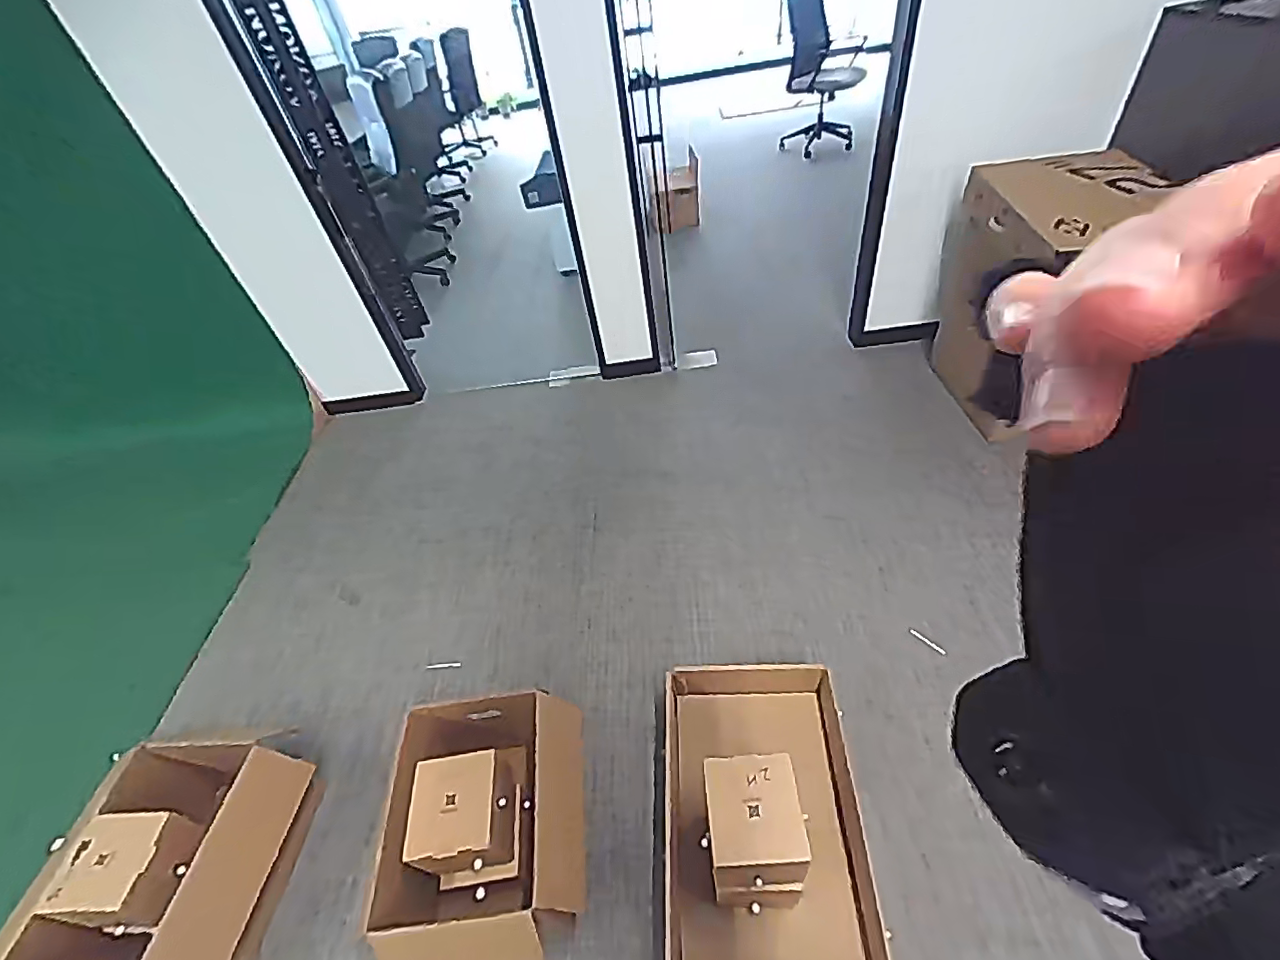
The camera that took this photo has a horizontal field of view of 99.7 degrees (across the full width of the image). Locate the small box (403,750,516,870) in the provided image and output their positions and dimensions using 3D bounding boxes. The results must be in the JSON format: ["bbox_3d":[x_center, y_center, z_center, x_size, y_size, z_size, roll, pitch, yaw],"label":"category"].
[{"bbox_3d":[-0.360,0.683,1.112,0.168,0.176,0.179,-9,46,0],"label":"small box"}]

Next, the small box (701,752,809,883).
[{"bbox_3d":[0.209,0.636,1.013,0.168,0.176,0.179,-6,43,3],"label":"small box"}]

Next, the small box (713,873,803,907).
[{"bbox_3d":[0.232,0.759,1.120,0.168,0.176,0.179,-4,43,5],"label":"small box"}]
